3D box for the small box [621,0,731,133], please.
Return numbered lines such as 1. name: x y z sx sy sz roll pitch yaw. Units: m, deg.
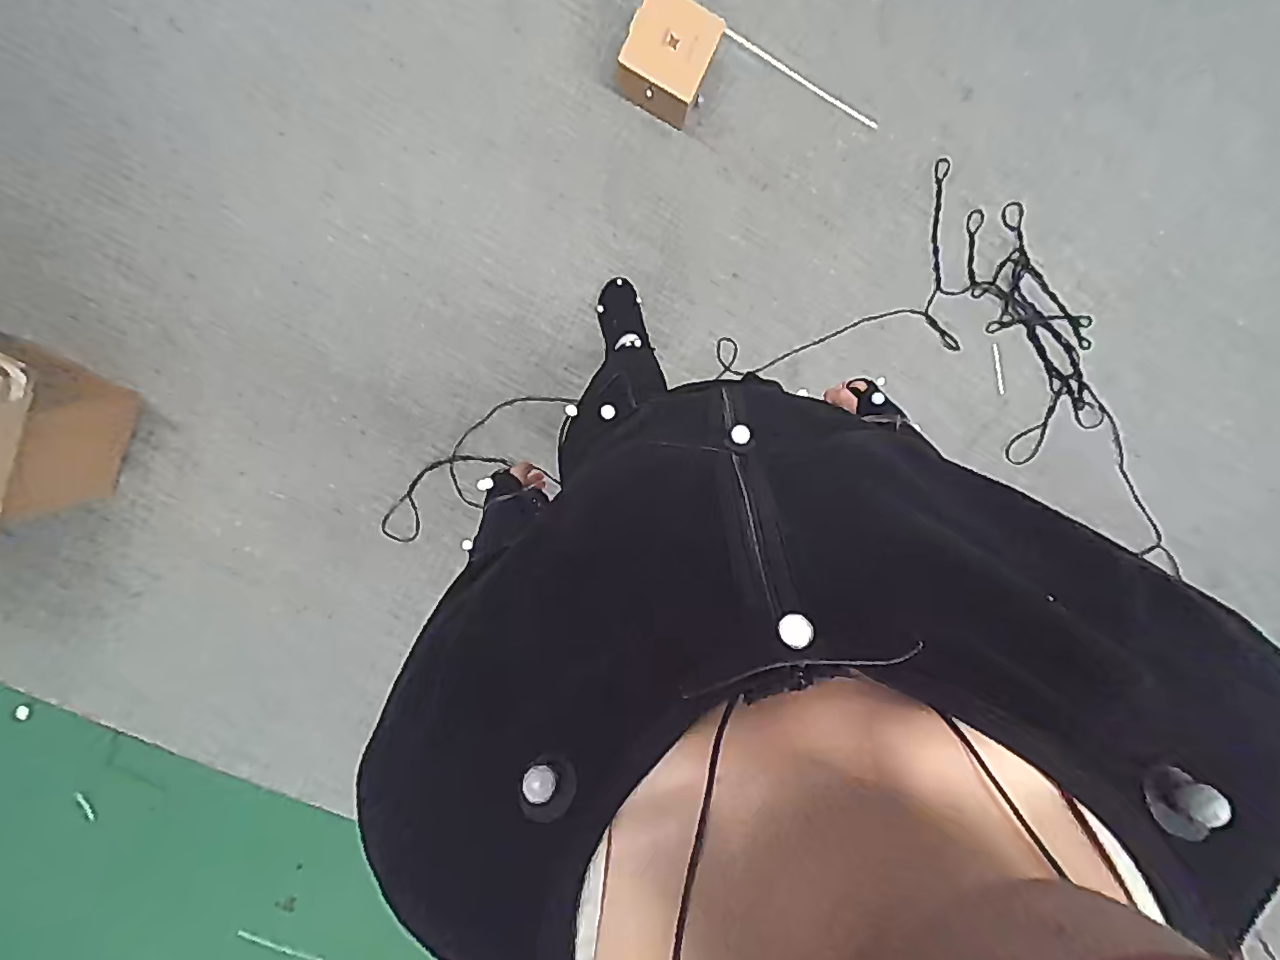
1. small box: 0.073 -0.909 1.191 0.179 0.176 0.168 27 103 -7
